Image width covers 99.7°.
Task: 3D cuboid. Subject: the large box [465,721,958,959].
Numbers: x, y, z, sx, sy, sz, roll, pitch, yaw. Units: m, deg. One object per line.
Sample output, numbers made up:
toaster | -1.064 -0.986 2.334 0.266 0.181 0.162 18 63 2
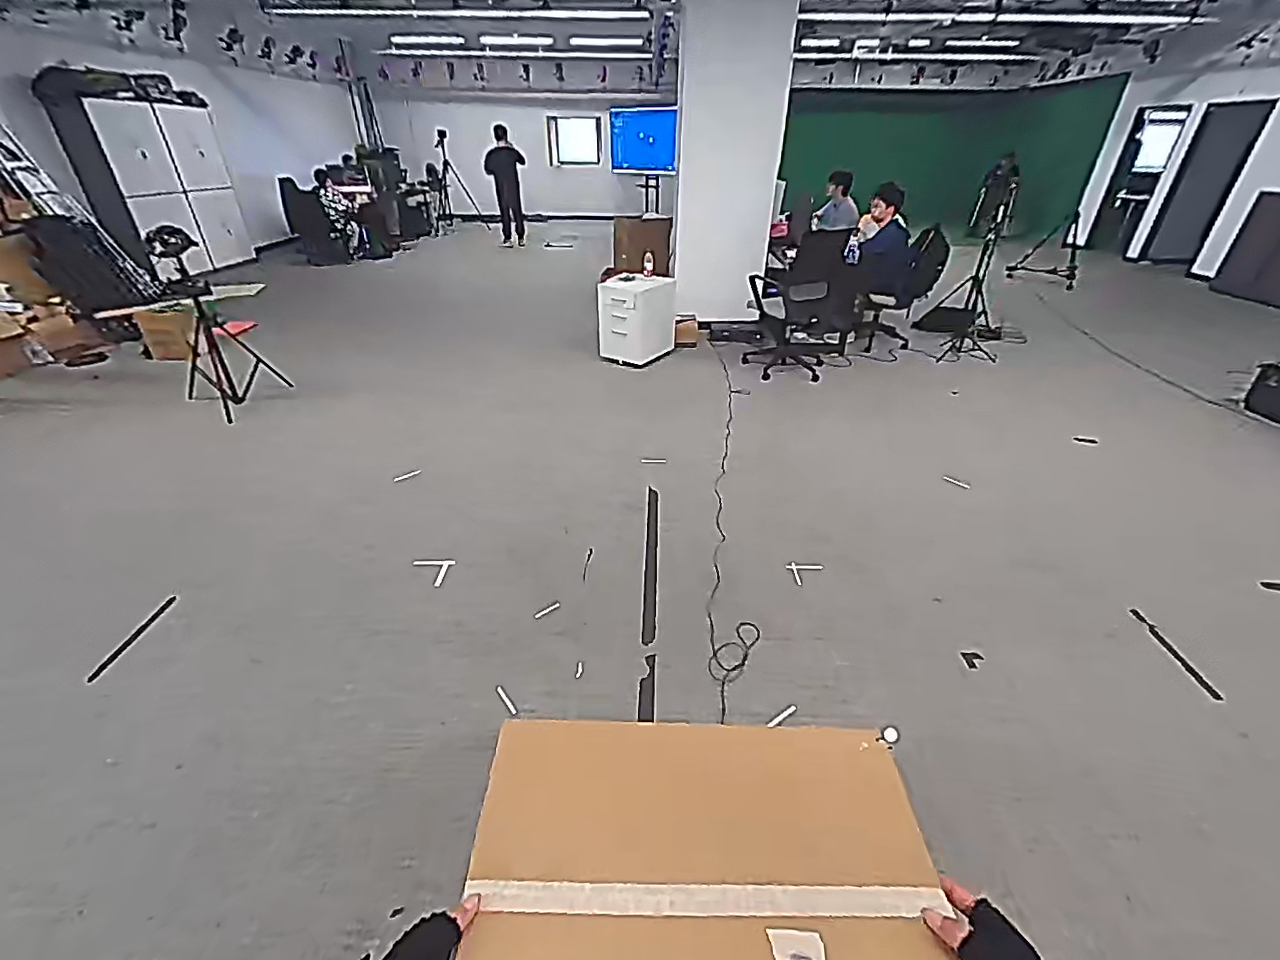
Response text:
large box | 0.051 0.478 0.551 0.408 0.320 0.320 3 35 -1
